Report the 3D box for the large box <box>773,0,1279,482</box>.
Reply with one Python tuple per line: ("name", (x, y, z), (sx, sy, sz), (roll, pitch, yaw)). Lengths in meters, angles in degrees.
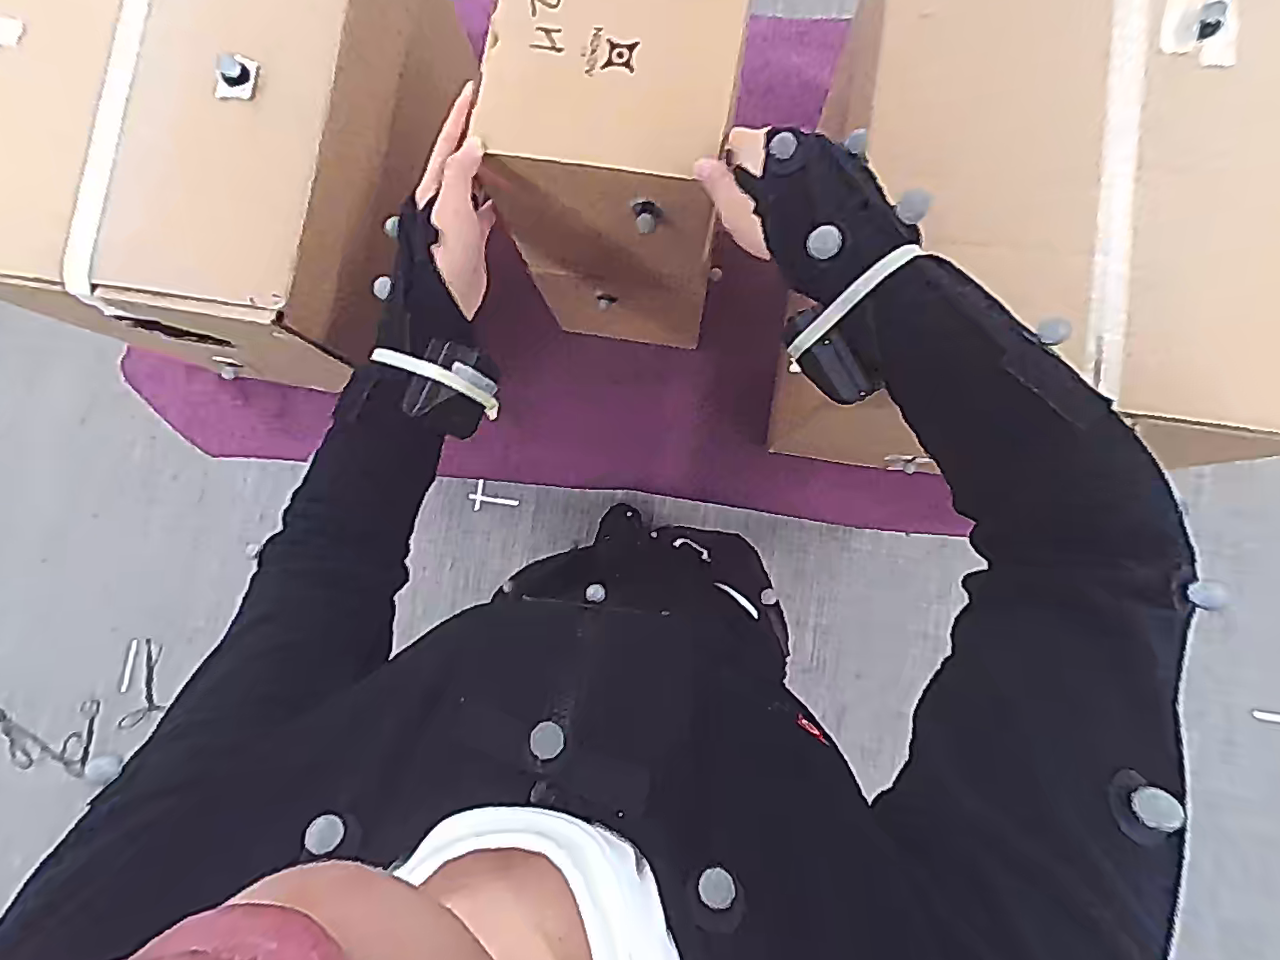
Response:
("large box", (0.319, -0.224, 0.511), (0.320, 0.320, 0.408), (7, 84, 4))
